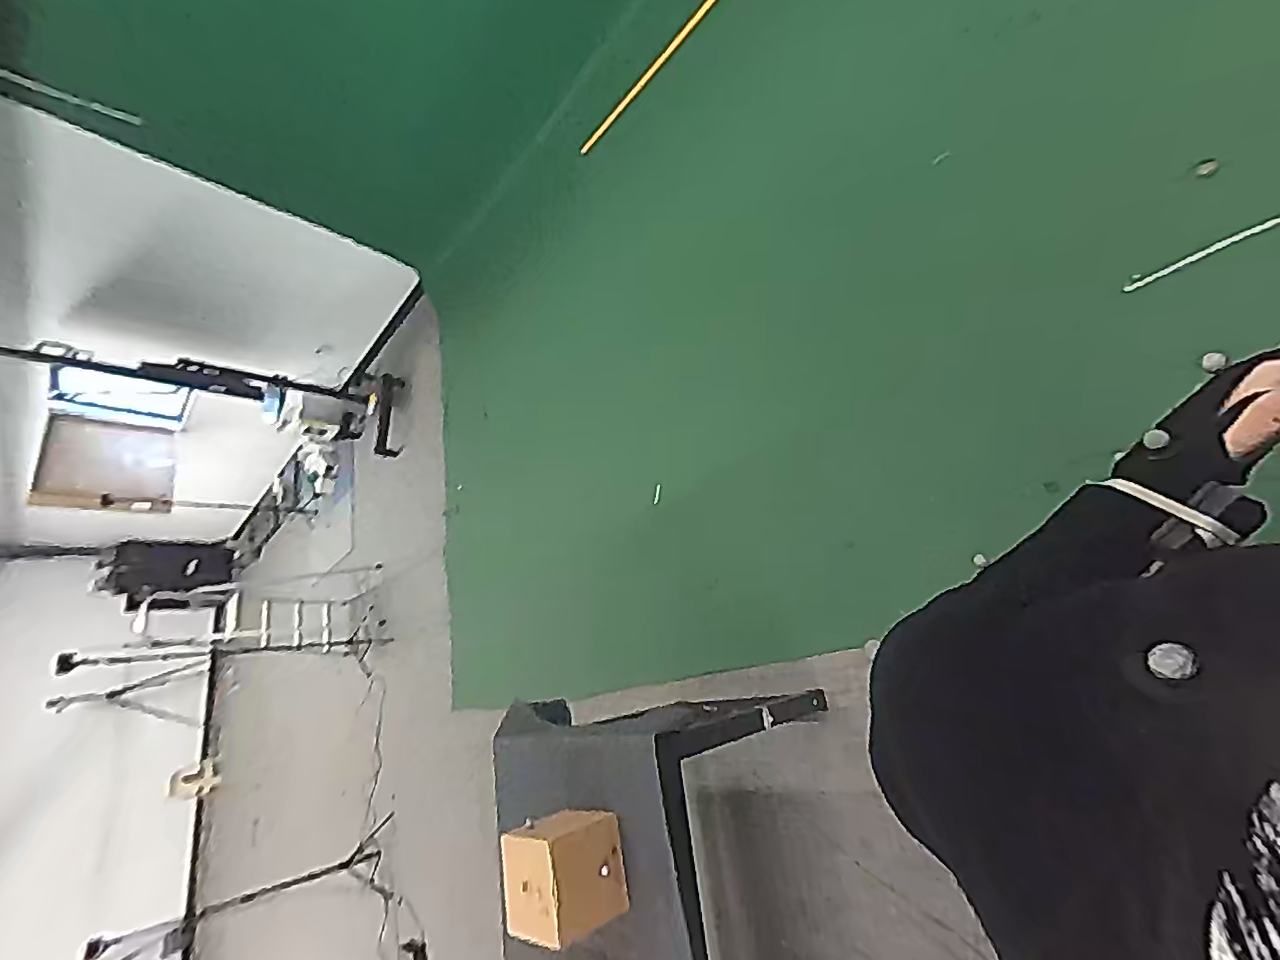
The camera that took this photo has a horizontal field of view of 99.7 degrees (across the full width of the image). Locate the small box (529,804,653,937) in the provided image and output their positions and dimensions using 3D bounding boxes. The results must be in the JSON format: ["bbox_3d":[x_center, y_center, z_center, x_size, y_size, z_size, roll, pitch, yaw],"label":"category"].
[{"bbox_3d":[-0.100,0.764,1.081,0.179,0.176,0.168,-29,63,41],"label":"small box"}]
